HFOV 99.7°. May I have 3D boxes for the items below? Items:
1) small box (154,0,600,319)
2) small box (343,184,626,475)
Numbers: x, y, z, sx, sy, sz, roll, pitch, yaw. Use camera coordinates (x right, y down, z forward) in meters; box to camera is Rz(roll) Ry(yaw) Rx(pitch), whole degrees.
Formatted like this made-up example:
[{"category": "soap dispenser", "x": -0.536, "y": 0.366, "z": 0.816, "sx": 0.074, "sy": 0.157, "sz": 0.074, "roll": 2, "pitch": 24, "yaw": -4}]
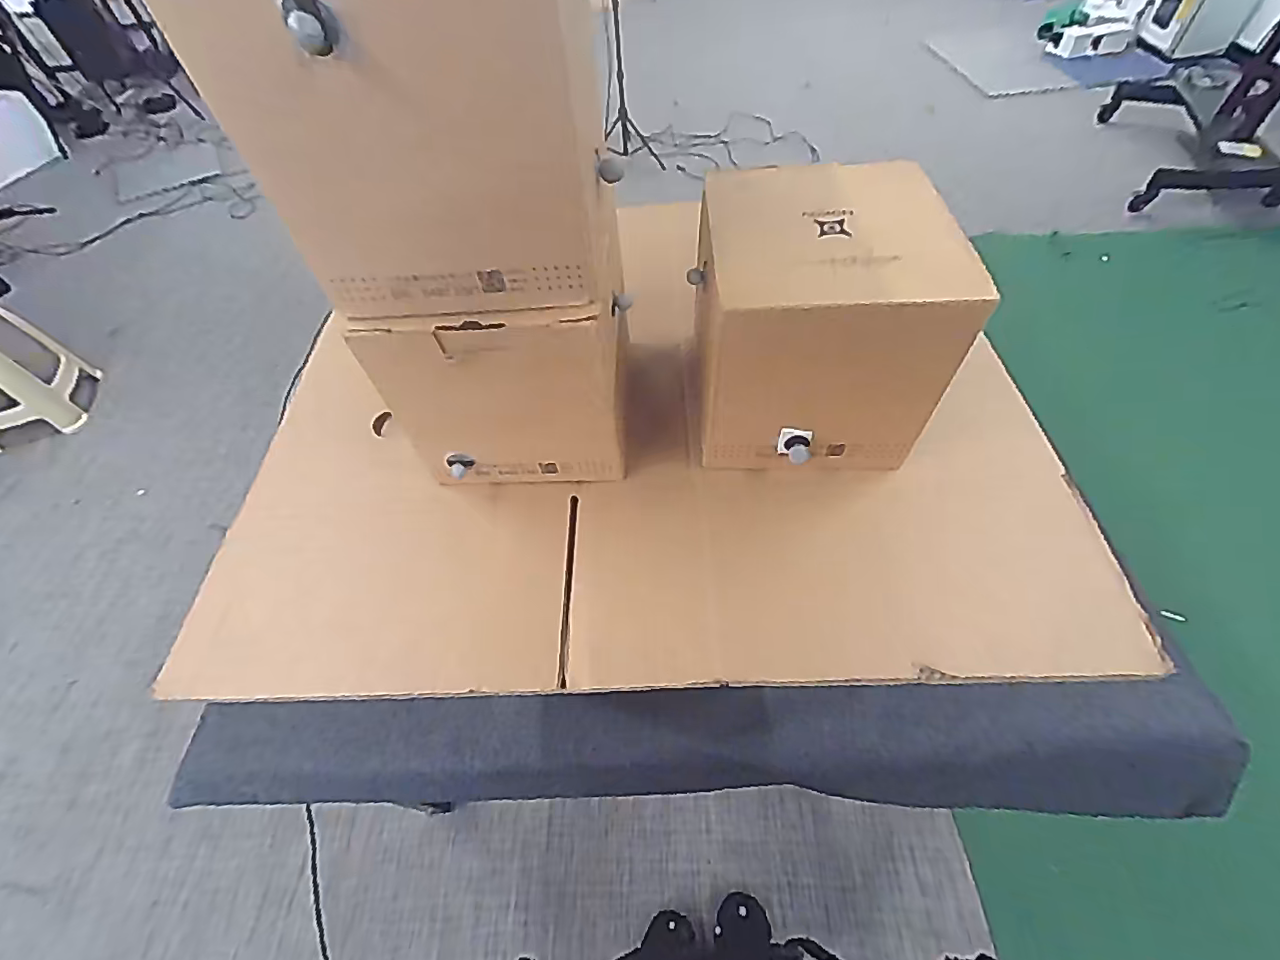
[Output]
[{"category": "small box", "x": -0.117, "y": -0.220, "z": 0.325, "sx": 0.168, "sy": 0.176, "sz": 0.179, "roll": -3, "pitch": 54, "yaw": 3}, {"category": "small box", "x": -0.102, "y": -0.115, "z": 0.450, "sx": 0.168, "sy": 0.176, "sz": 0.179, "roll": -1, "pitch": 54, "yaw": 4}]
